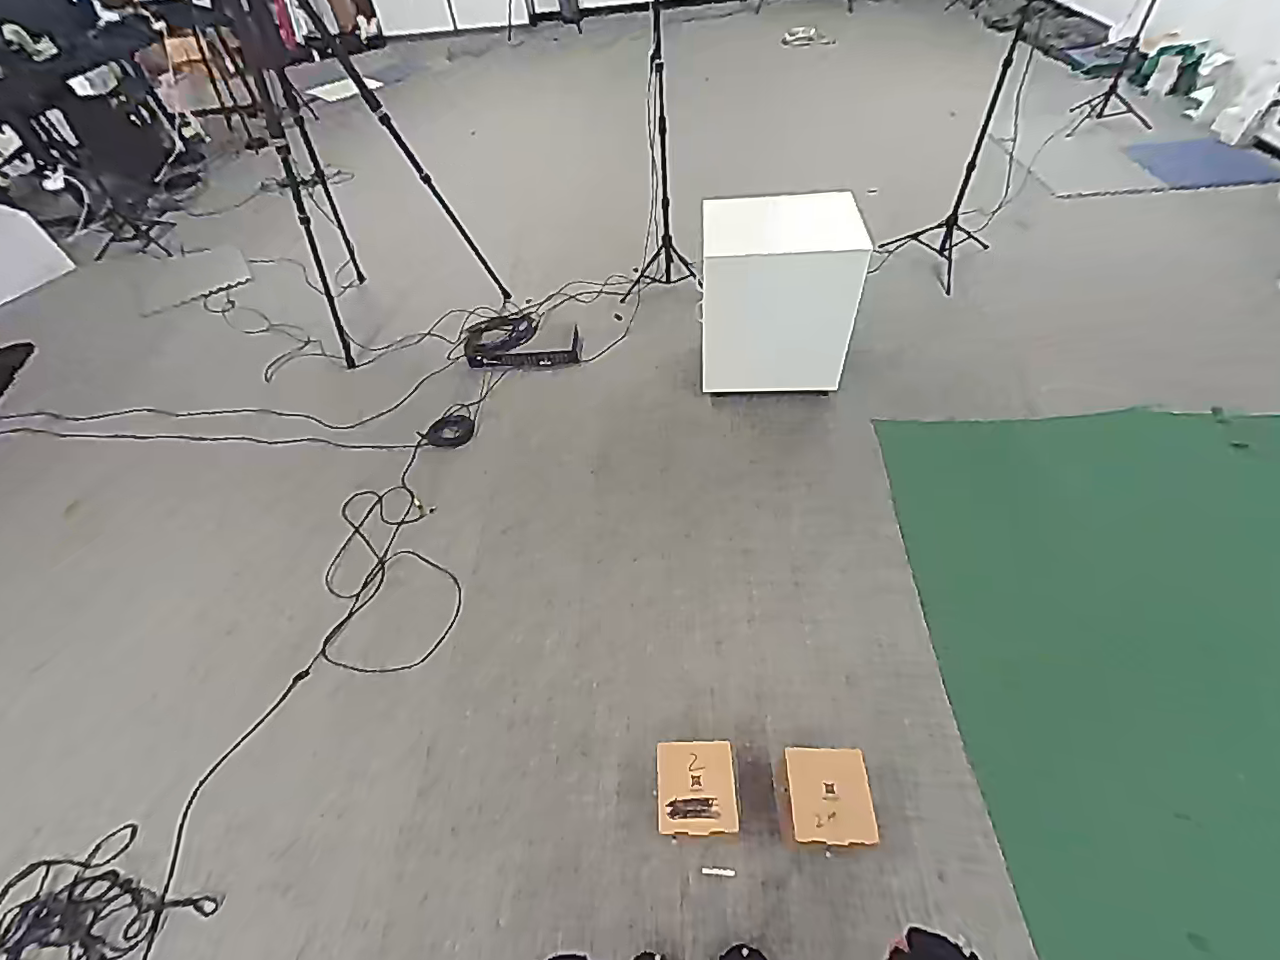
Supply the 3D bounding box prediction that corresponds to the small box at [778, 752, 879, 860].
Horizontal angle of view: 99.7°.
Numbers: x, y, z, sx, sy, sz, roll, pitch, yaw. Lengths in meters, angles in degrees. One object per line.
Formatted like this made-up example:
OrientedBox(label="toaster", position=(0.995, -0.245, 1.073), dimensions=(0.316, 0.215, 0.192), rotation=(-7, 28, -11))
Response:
OrientedBox(label="small box", position=(0.402, 0.717, 1.188), dimensions=(0.168, 0.176, 0.179), rotation=(-1, 50, 6))
